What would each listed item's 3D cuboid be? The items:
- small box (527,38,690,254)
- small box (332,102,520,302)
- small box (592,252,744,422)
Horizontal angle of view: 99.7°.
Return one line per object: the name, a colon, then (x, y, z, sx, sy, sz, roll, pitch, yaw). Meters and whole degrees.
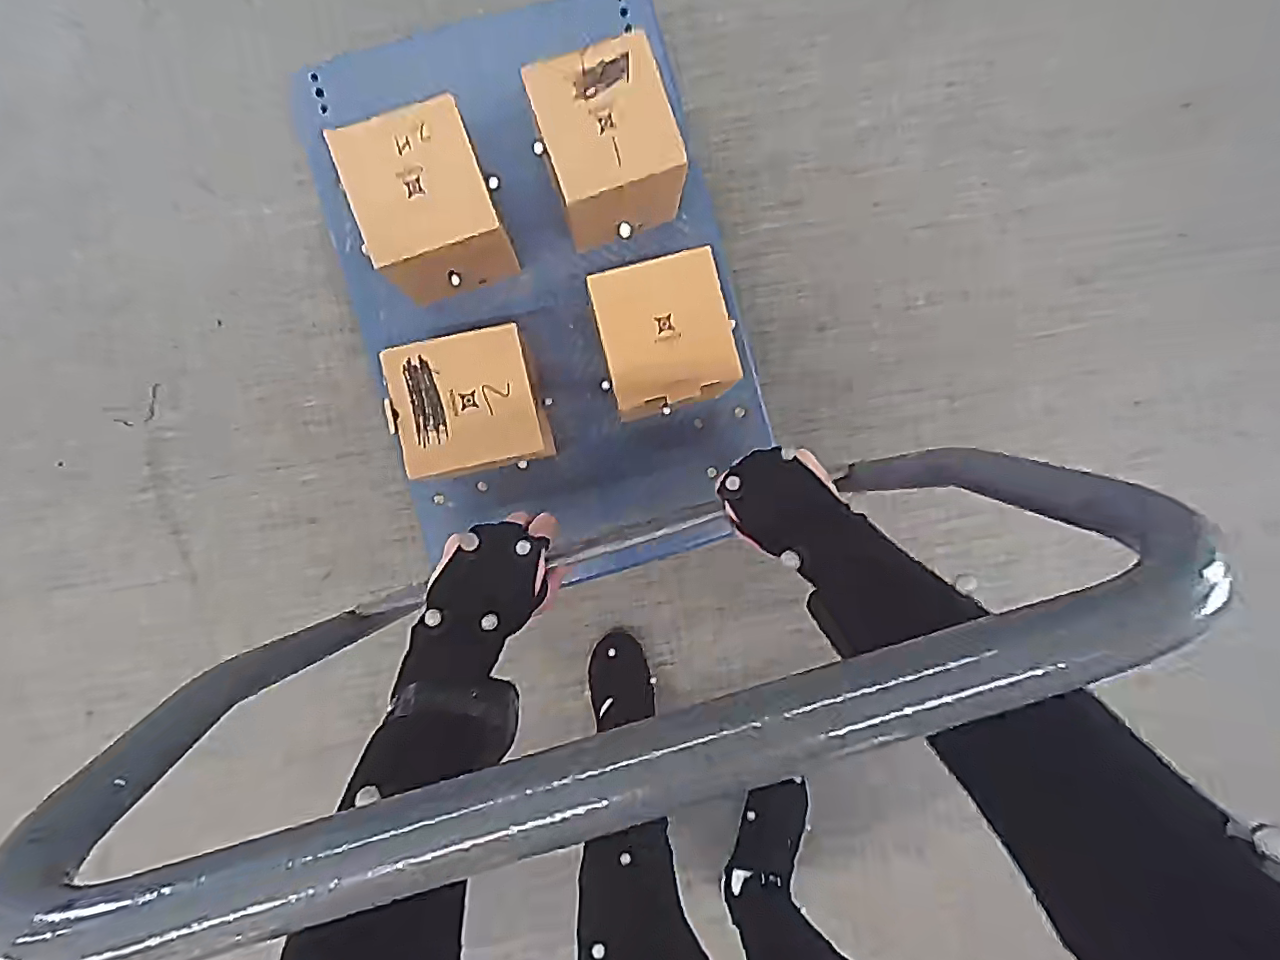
small box: (-0.043, -0.450, 0.757, 0.168, 0.176, 0.179, -19, 93, -1)
small box: (-0.279, -0.364, 0.749, 0.168, 0.176, 0.179, -19, 92, -3)
small box: (0.031, -0.190, 0.767, 0.168, 0.176, 0.179, -15, 92, -2)
